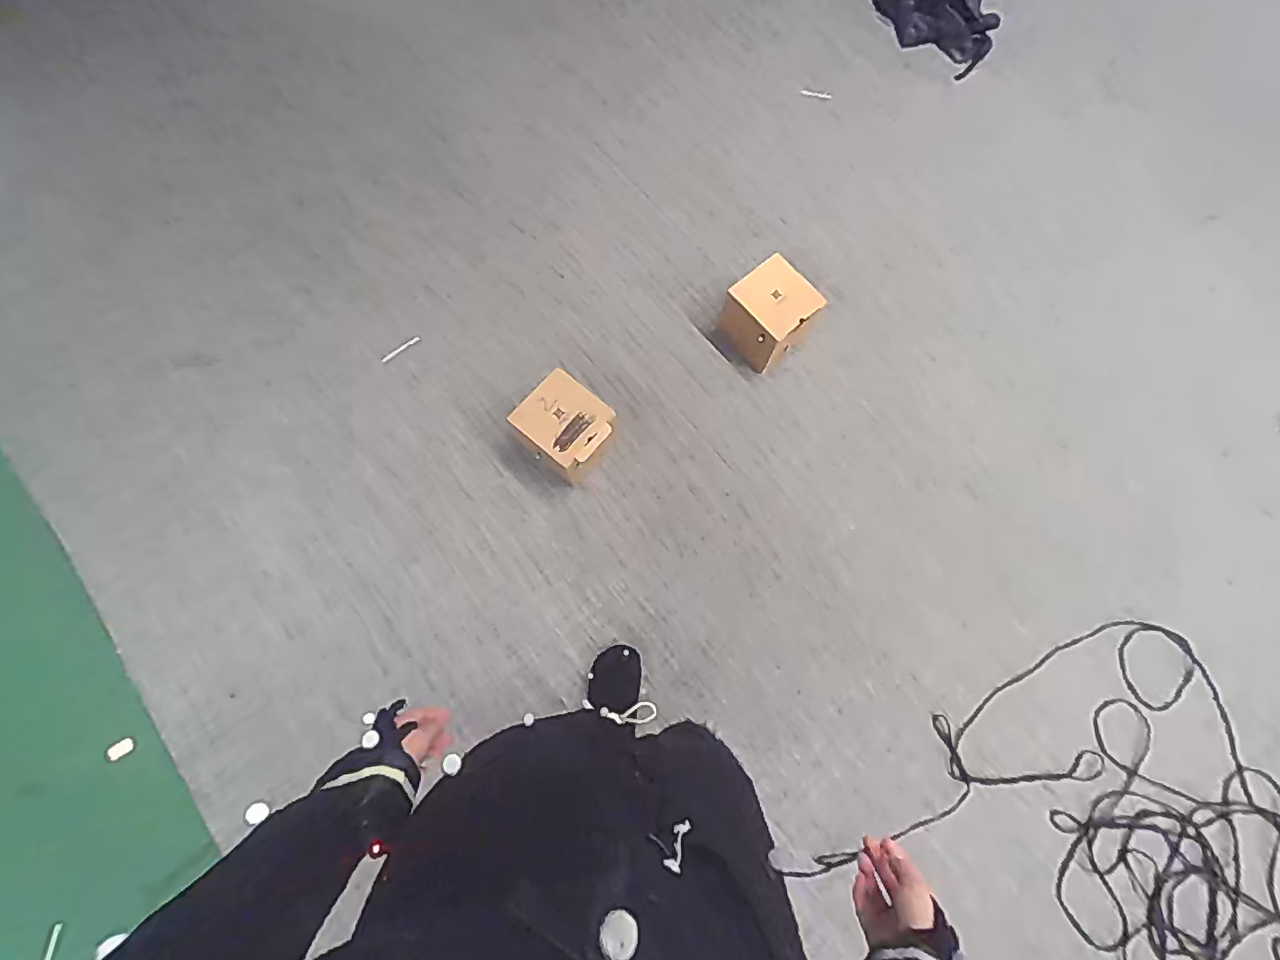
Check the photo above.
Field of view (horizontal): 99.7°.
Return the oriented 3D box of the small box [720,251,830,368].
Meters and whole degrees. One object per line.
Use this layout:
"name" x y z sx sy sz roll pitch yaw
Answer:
"small box" 0.319 -0.409 1.323 0.168 0.176 0.179 -39 80 -11
